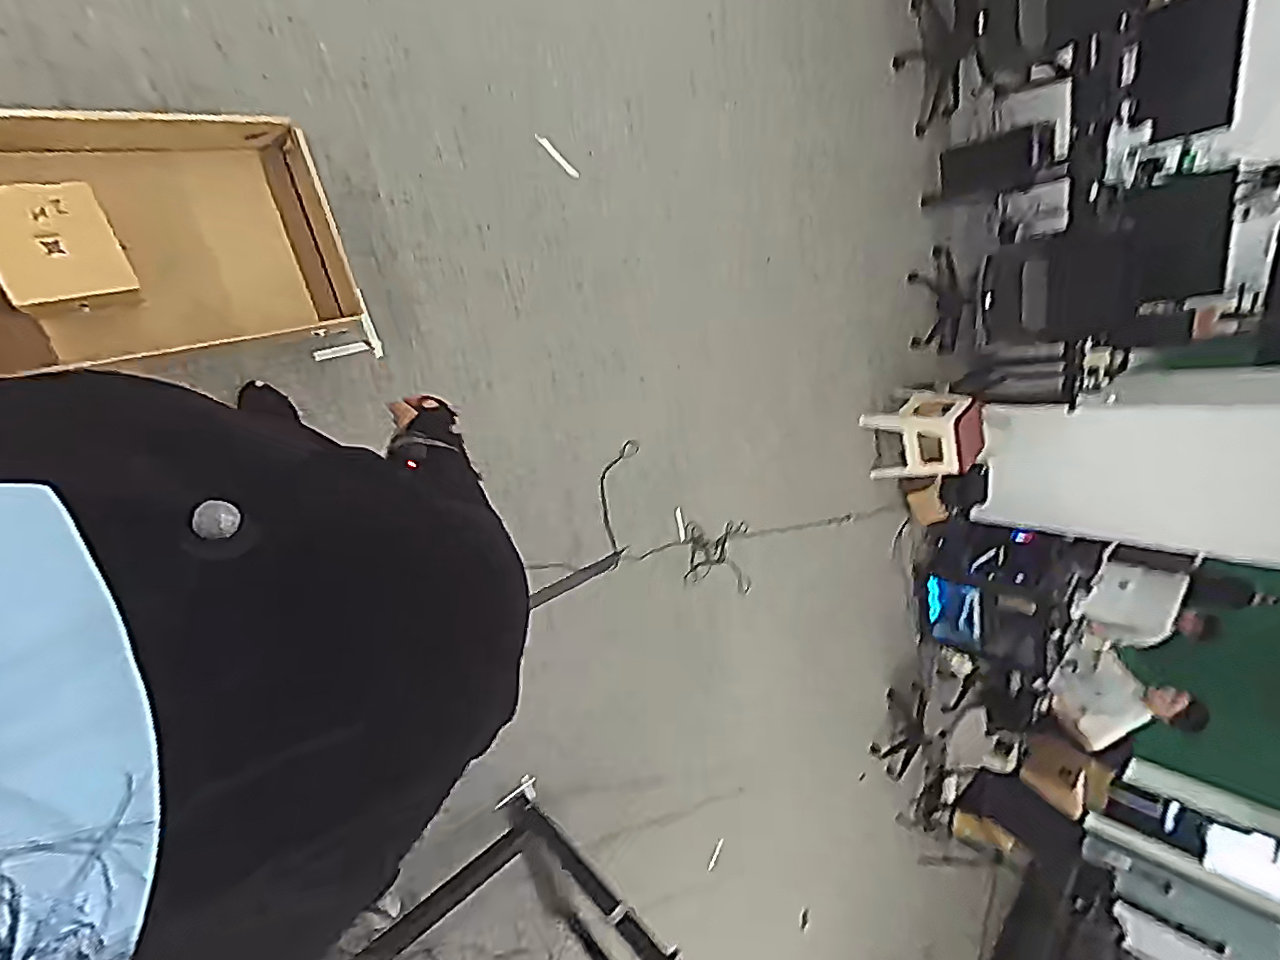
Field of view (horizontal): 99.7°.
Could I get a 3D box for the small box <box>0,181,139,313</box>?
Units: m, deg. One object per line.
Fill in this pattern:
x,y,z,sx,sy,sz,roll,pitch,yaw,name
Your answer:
-1.010,-0.393,0.933,0.168,0.176,0.179,-28,113,-35,small box
